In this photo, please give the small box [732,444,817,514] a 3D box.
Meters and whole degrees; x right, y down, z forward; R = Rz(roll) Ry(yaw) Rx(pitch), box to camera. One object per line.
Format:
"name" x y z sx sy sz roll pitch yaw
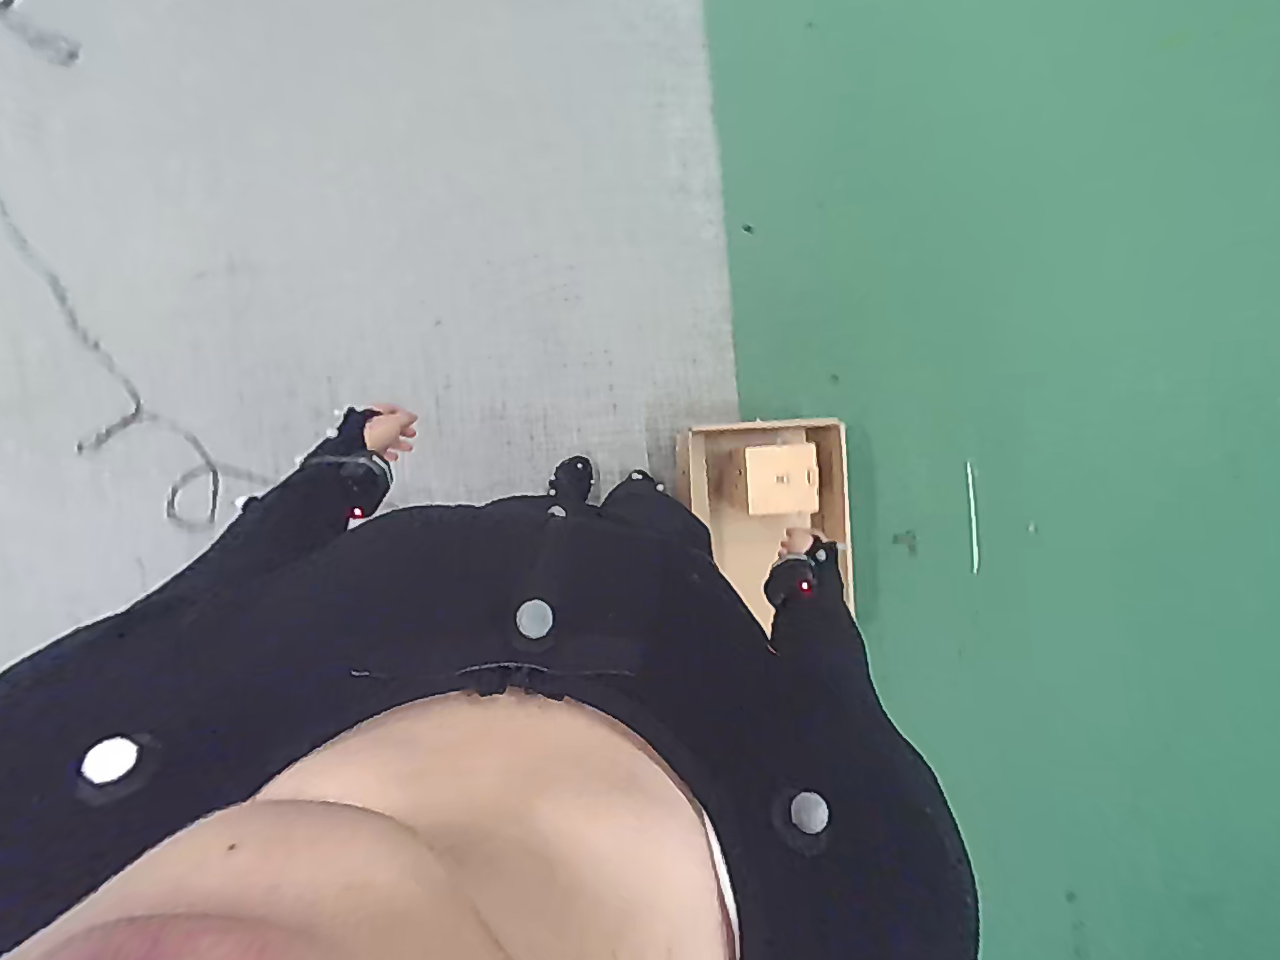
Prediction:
"small box" 0.336 -0.003 1.385 0.179 0.176 0.168 -3 92 -2
